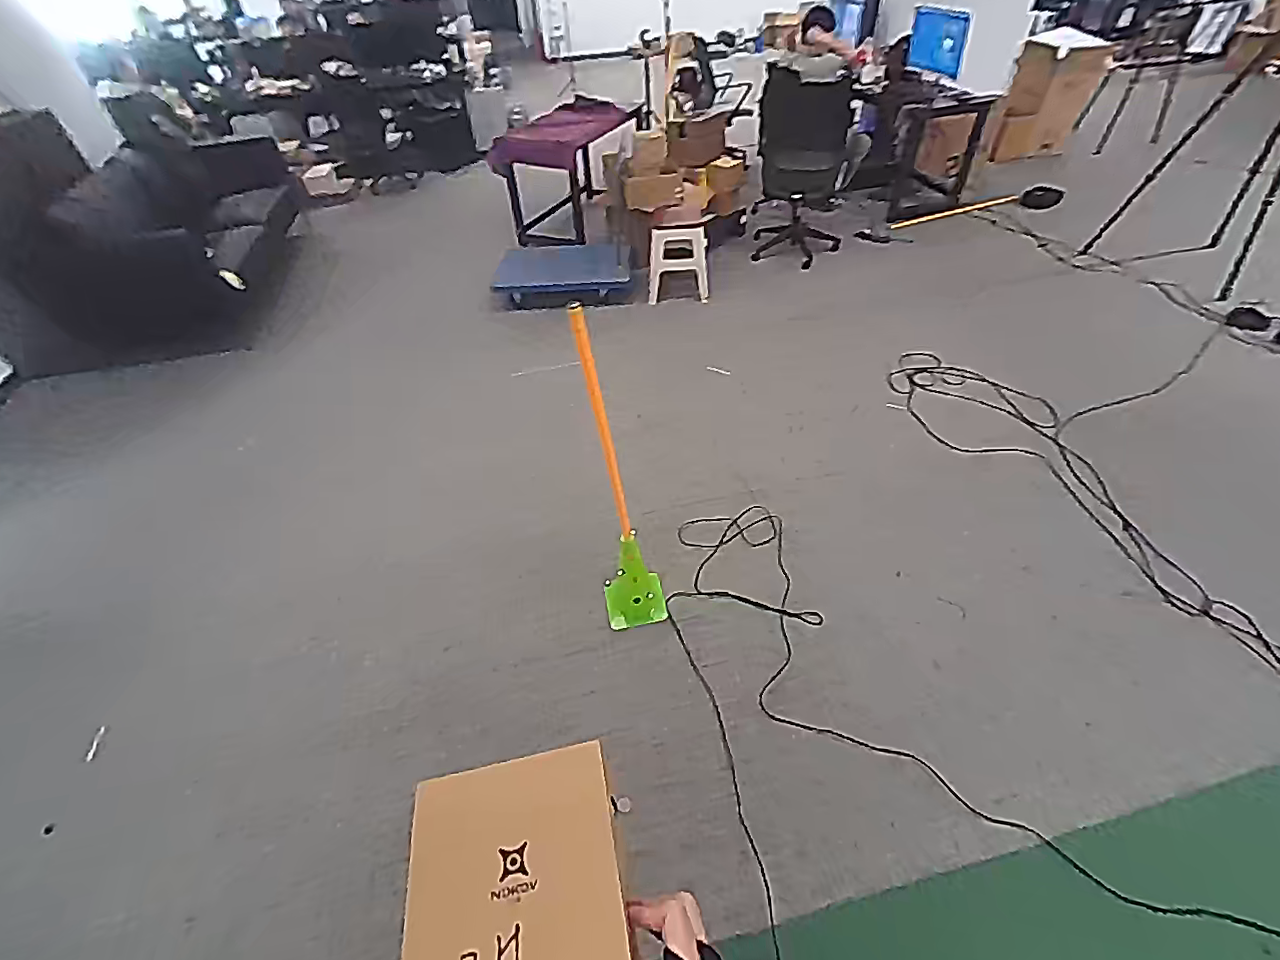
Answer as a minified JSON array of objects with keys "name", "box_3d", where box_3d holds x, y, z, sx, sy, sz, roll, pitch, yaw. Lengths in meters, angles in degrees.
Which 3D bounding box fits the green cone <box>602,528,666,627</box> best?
[{"name":"green cone","box_3d":[-0.030,0.291,1.753,0.202,0.368,0.200,-10,45,-7]}]
